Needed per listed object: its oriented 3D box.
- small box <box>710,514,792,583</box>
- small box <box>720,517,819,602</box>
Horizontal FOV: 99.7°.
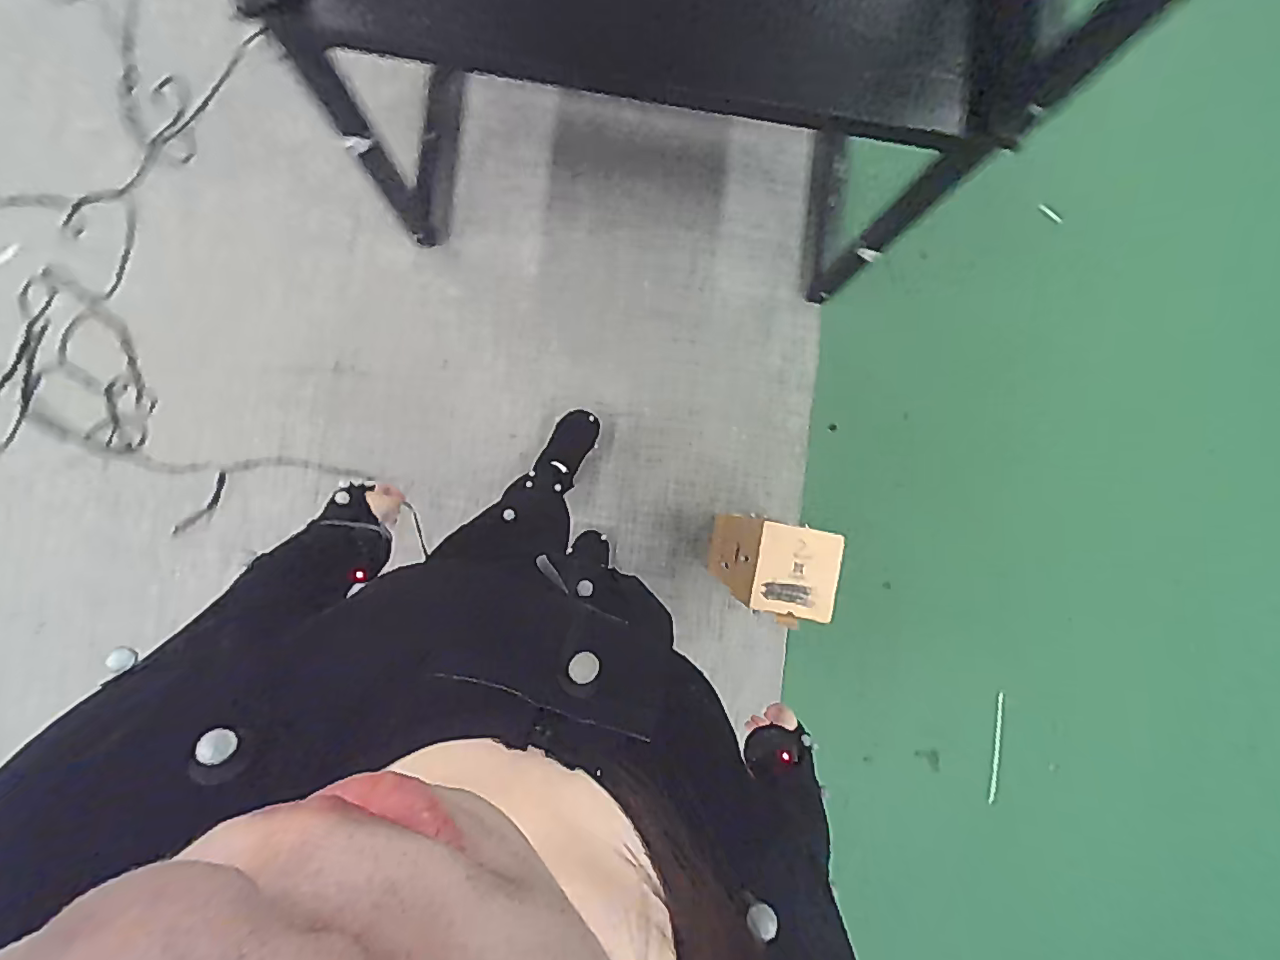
[{"bbox_3d":[0.293,0.190,1.442,0.168,0.176,0.179,10,88,-4],"label":"small box"},{"bbox_3d":[0.298,0.182,1.281,0.179,0.176,0.168,9,89,-4],"label":"small box"}]
